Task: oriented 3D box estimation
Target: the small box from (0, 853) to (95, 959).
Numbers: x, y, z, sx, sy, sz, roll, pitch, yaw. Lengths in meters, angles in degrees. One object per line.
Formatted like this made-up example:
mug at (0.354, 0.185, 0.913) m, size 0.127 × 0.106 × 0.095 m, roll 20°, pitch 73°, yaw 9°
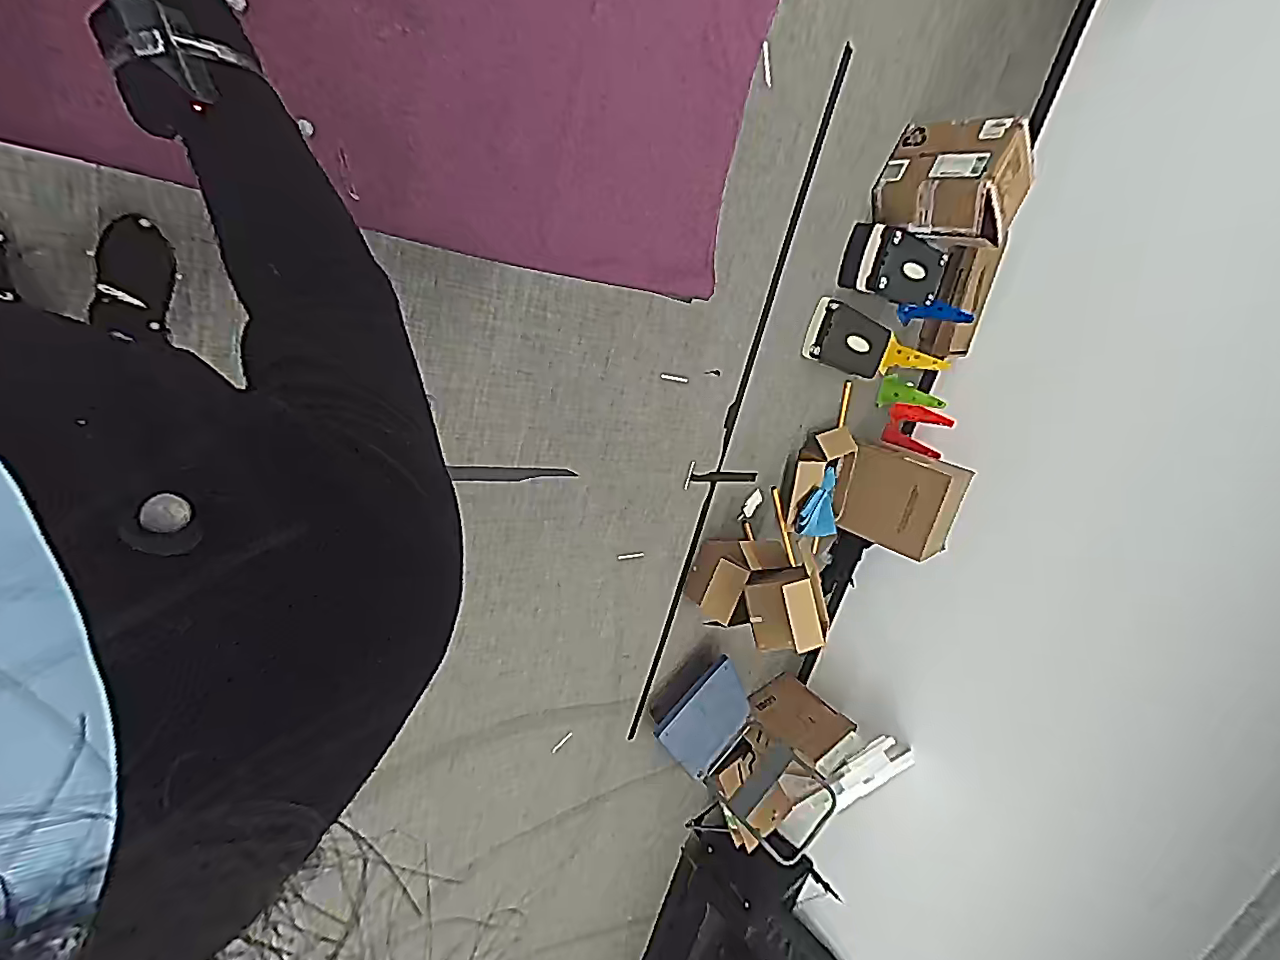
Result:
small box at (-1.415, 1.044, 1.280) m, size 0.168 × 0.176 × 0.179 m, roll 5°, pitch 109°, yaw -46°
